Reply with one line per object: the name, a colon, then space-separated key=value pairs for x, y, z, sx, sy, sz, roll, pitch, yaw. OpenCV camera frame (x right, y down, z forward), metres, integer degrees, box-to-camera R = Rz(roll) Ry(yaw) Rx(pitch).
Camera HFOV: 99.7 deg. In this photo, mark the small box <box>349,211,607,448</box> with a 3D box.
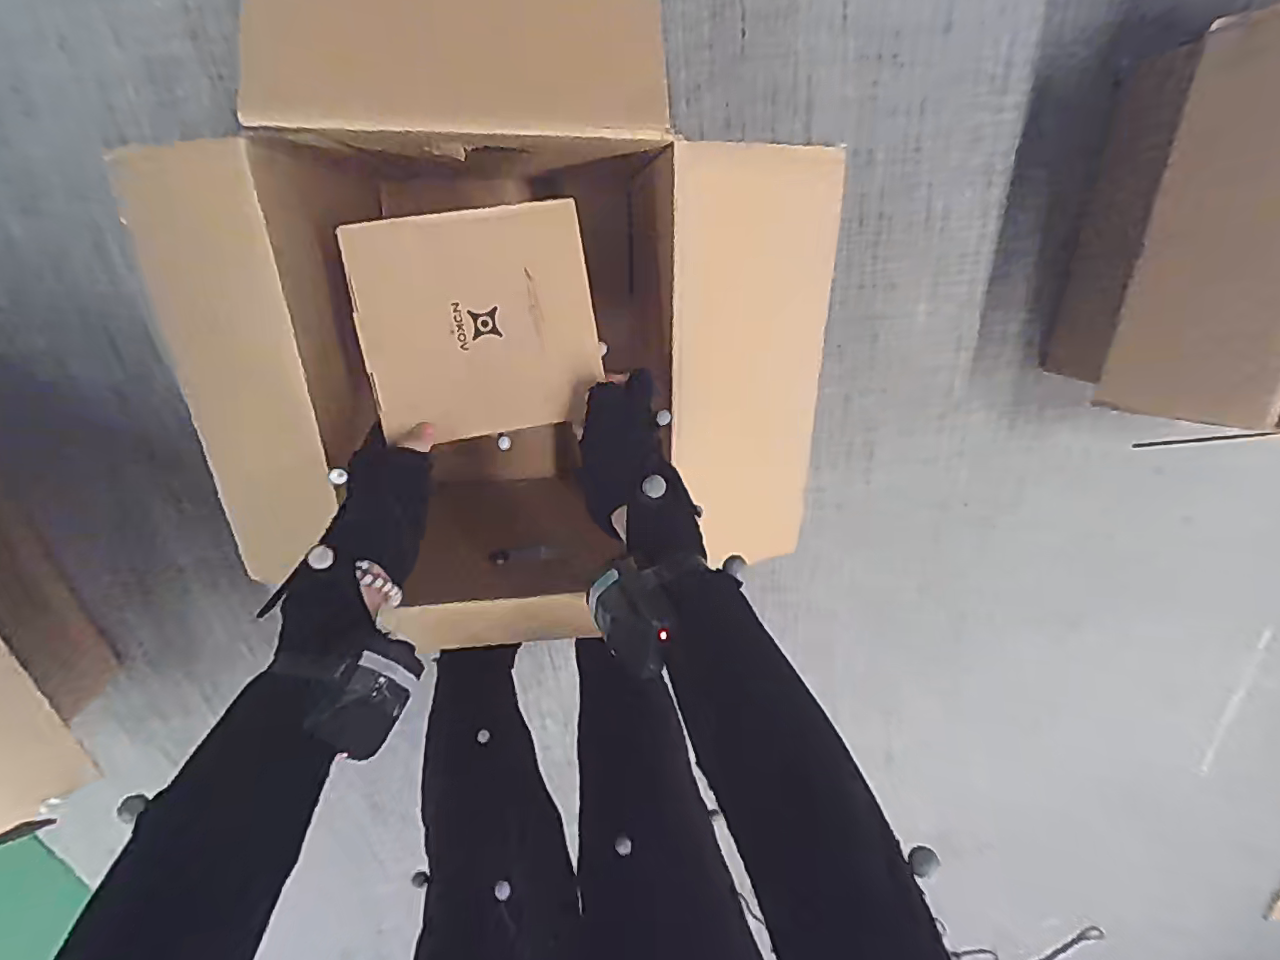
small box: x=-0.131 y=-0.126 z=0.501 sx=0.179 sy=0.176 sz=0.168 roll=-10 pitch=99 yaw=-6
